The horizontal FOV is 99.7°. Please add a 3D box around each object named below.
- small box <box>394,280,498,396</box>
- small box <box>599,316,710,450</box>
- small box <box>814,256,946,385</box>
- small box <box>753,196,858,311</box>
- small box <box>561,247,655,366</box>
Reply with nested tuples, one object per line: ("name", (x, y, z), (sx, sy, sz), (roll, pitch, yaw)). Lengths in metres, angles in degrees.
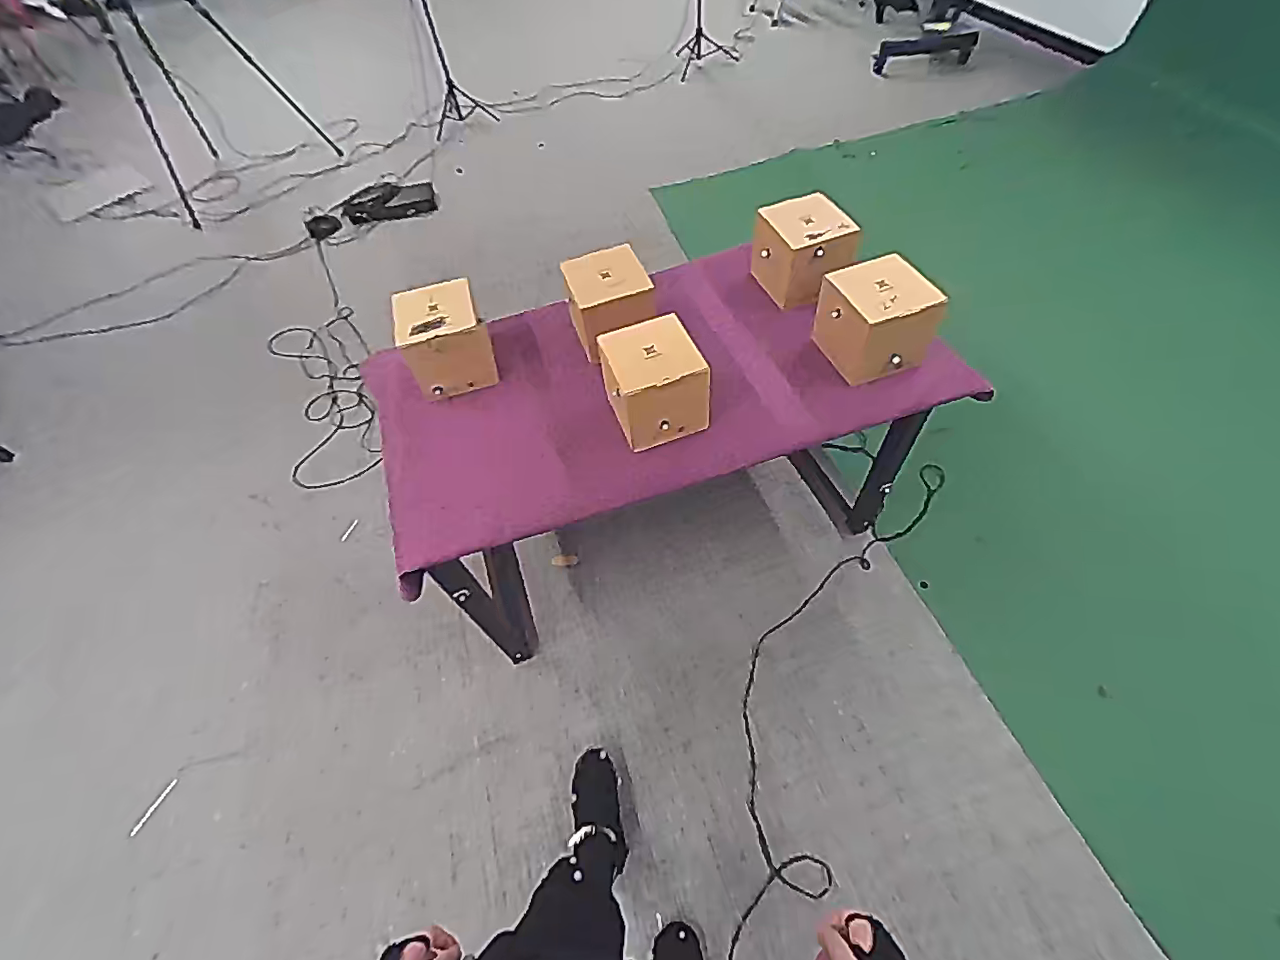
("small box", (-0.425, -0.306, 1.200), (0.168, 0.176, 0.179), (-16, 57, -6))
("small box", (0.028, -0.191, 1.081), (0.168, 0.176, 0.179), (-19, 56, -8))
("small box", (0.483, -0.328, 1.123), (0.168, 0.176, 0.179), (-18, 55, -5))
("small box", (0.379, -0.533, 1.279), (0.168, 0.176, 0.179), (-20, 56, -7))
("small box", (-0.069, -0.392, 1.229), (0.168, 0.176, 0.179), (-19, 57, -6))
